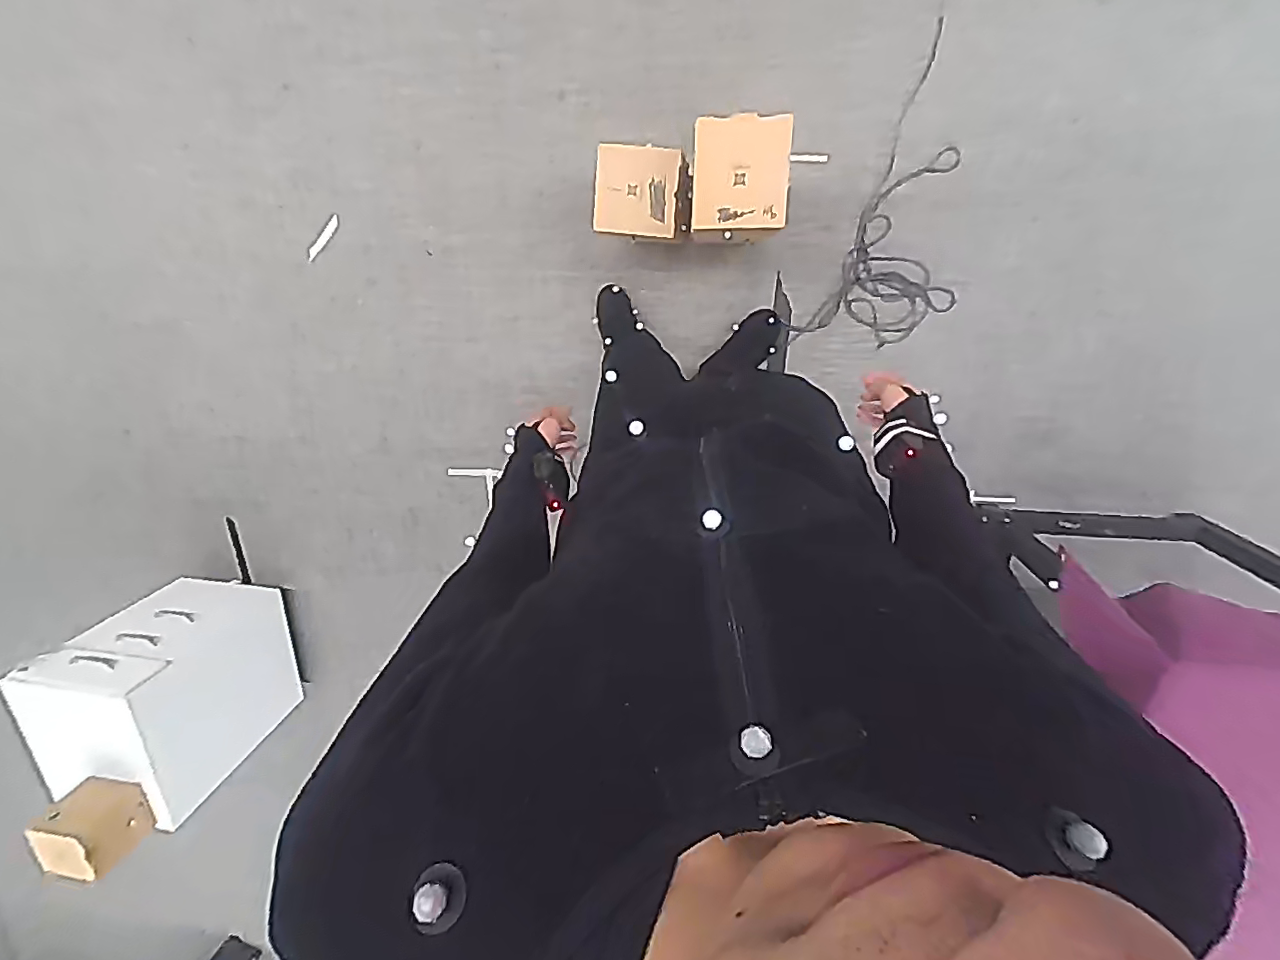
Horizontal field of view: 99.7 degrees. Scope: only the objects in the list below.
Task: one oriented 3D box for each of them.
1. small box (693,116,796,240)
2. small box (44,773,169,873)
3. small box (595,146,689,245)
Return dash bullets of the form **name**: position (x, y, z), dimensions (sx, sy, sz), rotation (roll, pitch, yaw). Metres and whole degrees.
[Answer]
- **small box**: position (0.187, -0.548, 1.003), dimensions (0.168, 0.176, 0.179), rotation (3, 110, 8)
- **small box**: position (-1.527, 0.981, 1.559), dimensions (0.179, 0.176, 0.168), rotation (4, 111, 8)
- **small box**: position (0.008, -0.614, 1.184), dimensions (0.179, 0.176, 0.168), rotation (8, 111, 7)
